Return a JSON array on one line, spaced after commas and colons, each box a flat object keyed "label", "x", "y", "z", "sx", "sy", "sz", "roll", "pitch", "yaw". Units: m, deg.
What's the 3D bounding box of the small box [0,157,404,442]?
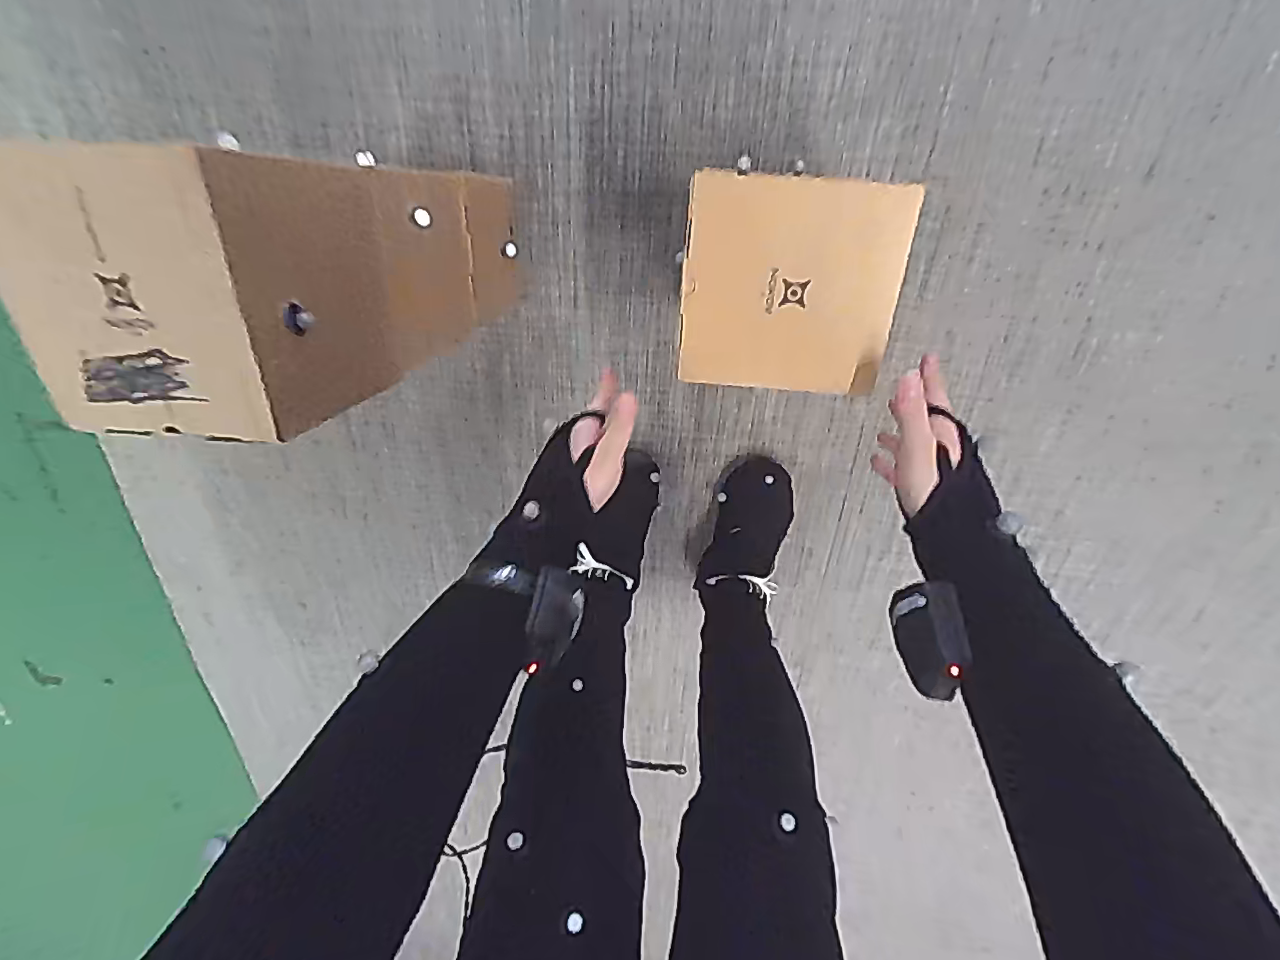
[{"label": "small box", "x": -0.310, "y": -0.144, "z": 0.426, "sx": 0.168, "sy": 0.176, "sz": 0.179, "roll": 4, "pitch": 115, "yaw": 5}]

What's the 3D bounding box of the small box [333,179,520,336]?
[{"label": "small box", "x": -0.271, "y": -0.293, "z": 0.715, "sx": 0.179, "sy": 0.176, "sz": 0.168, "roll": 5, "pitch": 116, "yaw": 4}]

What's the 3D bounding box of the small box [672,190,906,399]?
[{"label": "small box", "x": 0.128, "y": -0.188, "z": 0.534, "sx": 0.179, "sy": 0.176, "sz": 0.168, "roll": 5, "pitch": 116, "yaw": 5}]
